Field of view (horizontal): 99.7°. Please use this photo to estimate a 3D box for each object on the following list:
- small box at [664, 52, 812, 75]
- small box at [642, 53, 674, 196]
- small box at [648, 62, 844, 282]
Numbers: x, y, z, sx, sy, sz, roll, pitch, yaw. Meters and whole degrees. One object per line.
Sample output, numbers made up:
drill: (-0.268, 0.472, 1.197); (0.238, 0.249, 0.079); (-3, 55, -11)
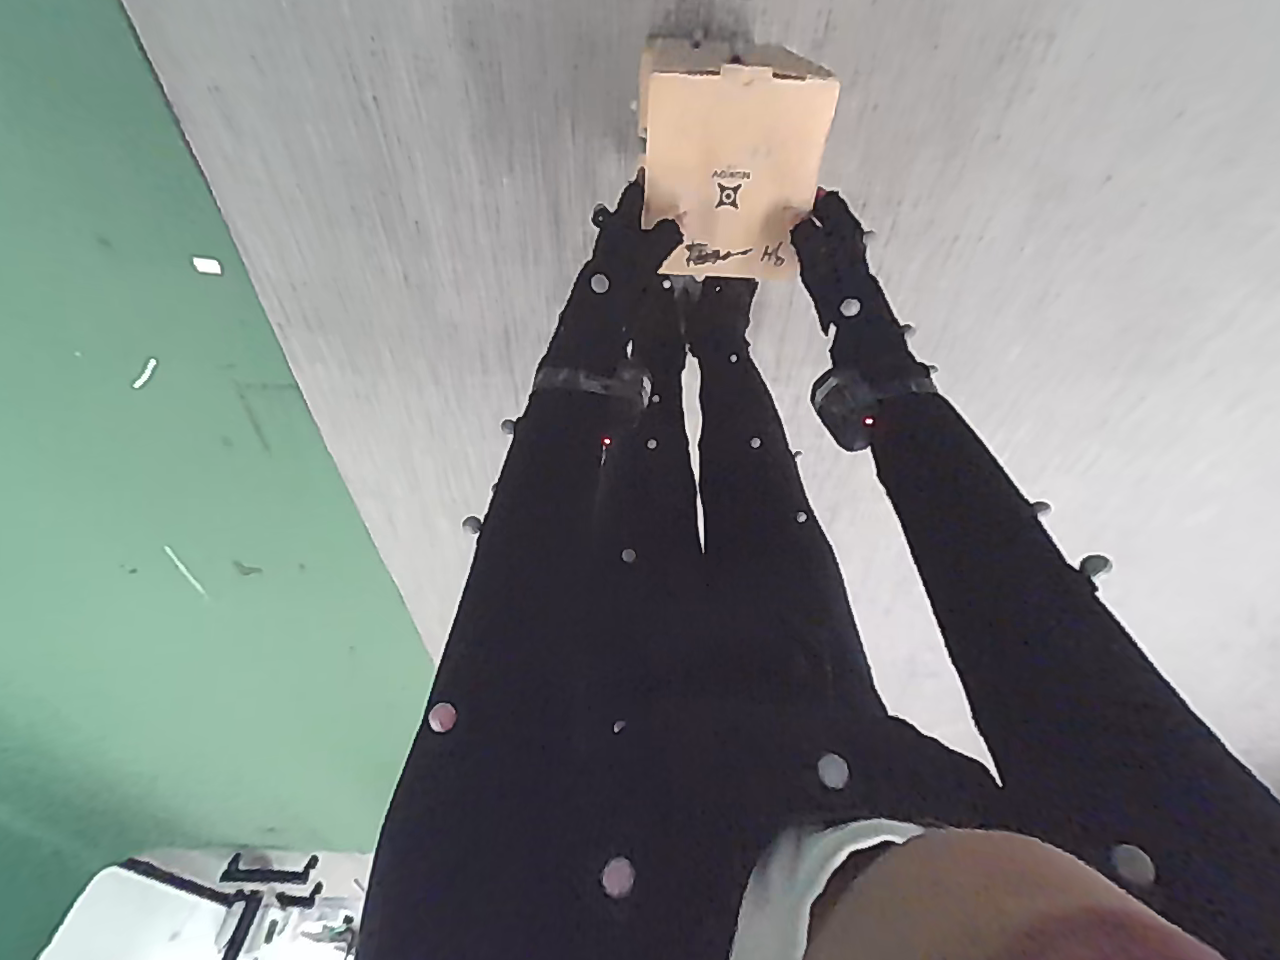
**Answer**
small box: (0.107, -0.439, 0.704); (0.168, 0.176, 0.179); (3, 133, 1)
small box: (0.096, -0.542, 0.828); (0.179, 0.176, 0.168); (4, 132, 0)
small box: (0.095, -0.332, 0.580); (0.168, 0.176, 0.179); (3, 131, 1)
